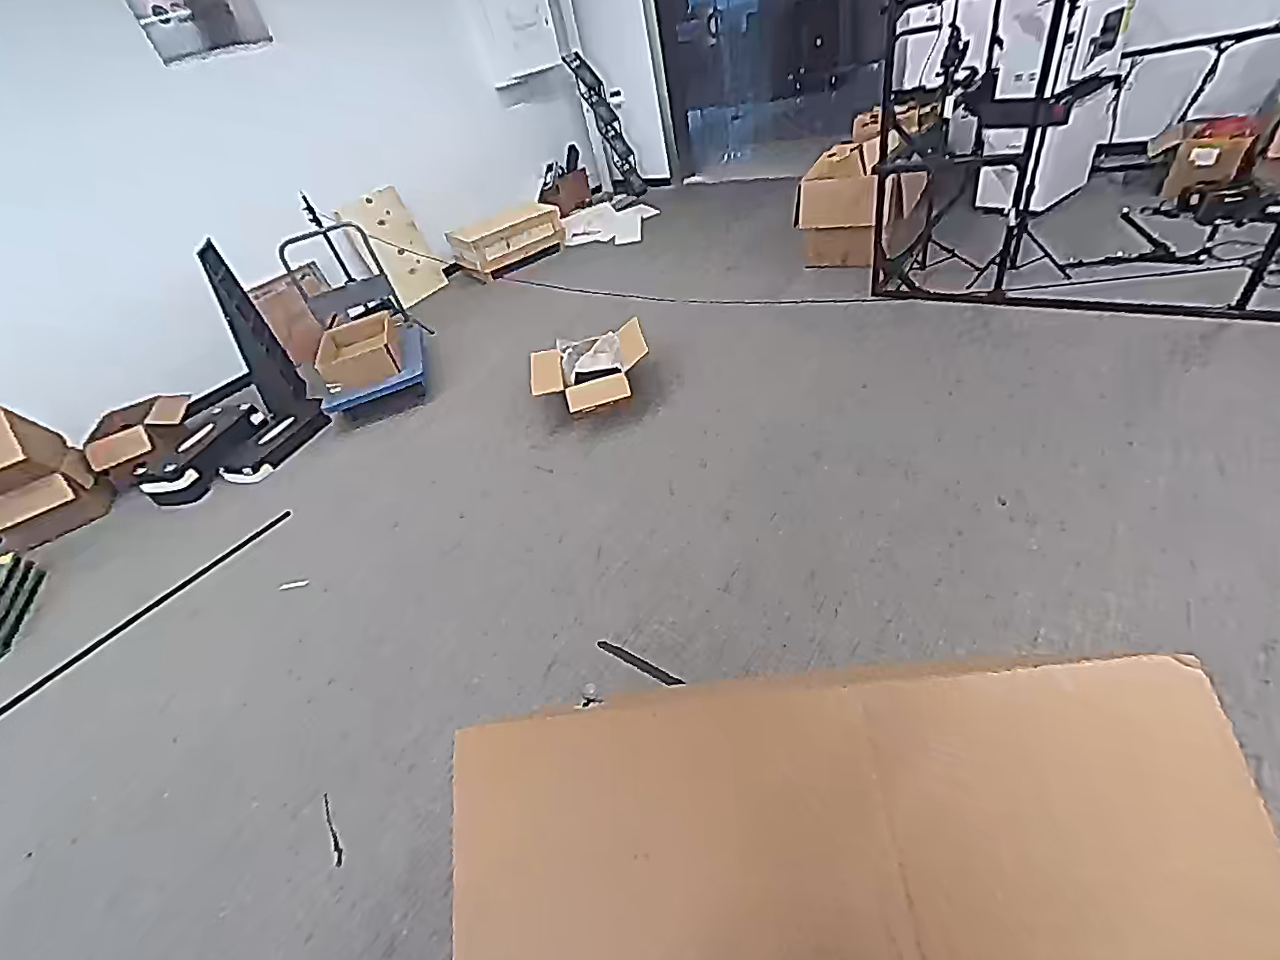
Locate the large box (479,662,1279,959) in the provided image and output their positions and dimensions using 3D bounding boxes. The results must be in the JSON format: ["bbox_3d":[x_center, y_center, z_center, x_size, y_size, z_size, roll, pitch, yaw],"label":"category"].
[{"bbox_3d":[0.133,0.320,0.405,0.408,0.320,0.320,-9,71,8],"label":"large box"}]
